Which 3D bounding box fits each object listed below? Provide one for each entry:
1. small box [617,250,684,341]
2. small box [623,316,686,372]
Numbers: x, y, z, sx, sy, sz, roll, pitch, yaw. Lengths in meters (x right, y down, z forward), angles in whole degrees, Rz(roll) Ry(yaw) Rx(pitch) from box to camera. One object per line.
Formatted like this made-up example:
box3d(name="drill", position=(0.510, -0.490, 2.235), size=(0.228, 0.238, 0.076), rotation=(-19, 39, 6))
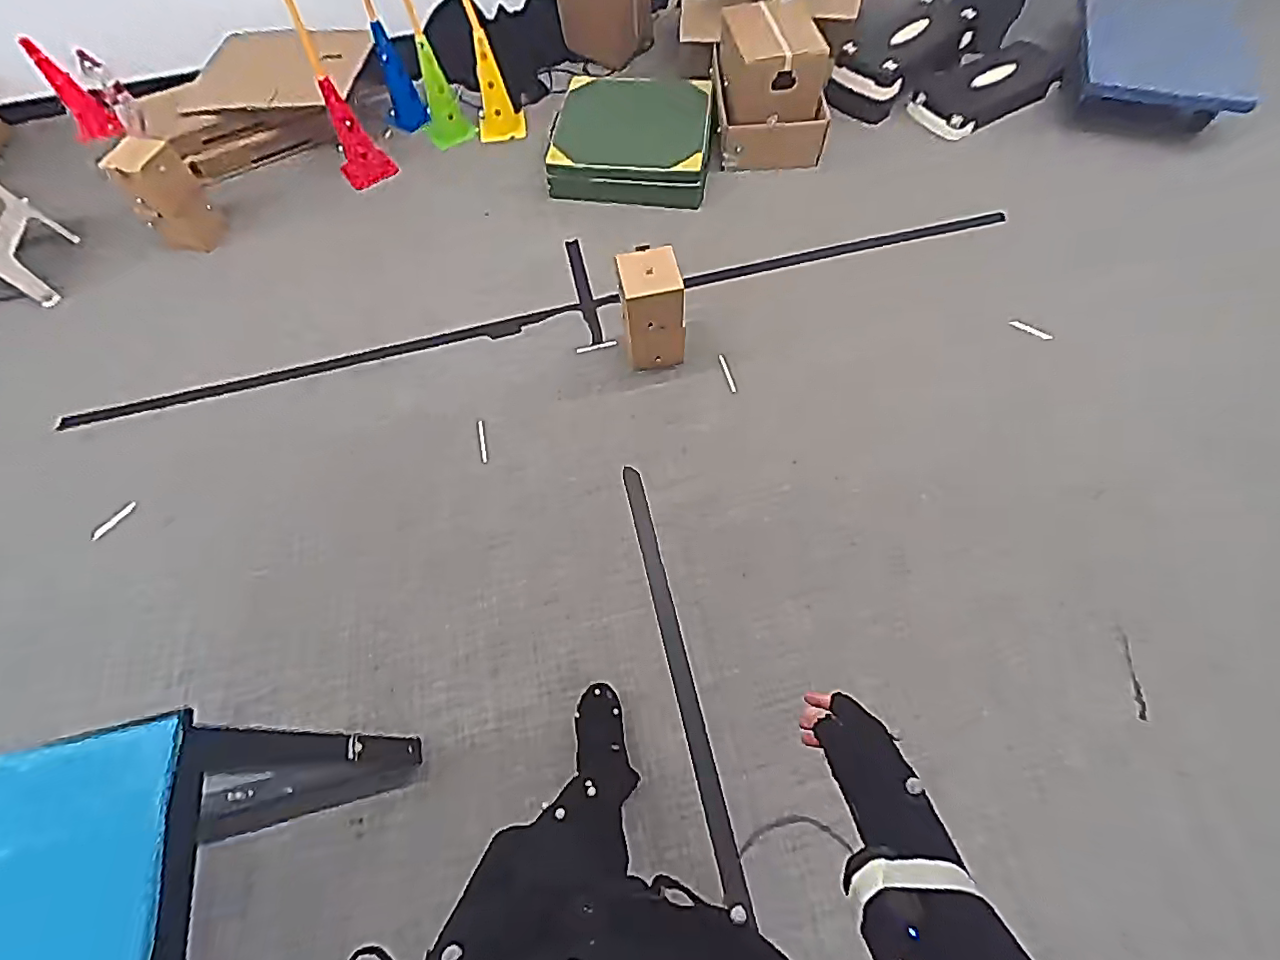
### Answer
box3d(name="small box", position=(0.028, -0.539, 1.590), size=(0.168, 0.176, 0.179), rotation=(-11, 64, -2))
box3d(name="small box", position=(0.041, -0.471, 1.737), size=(0.179, 0.176, 0.168), rotation=(-9, 62, -4))
